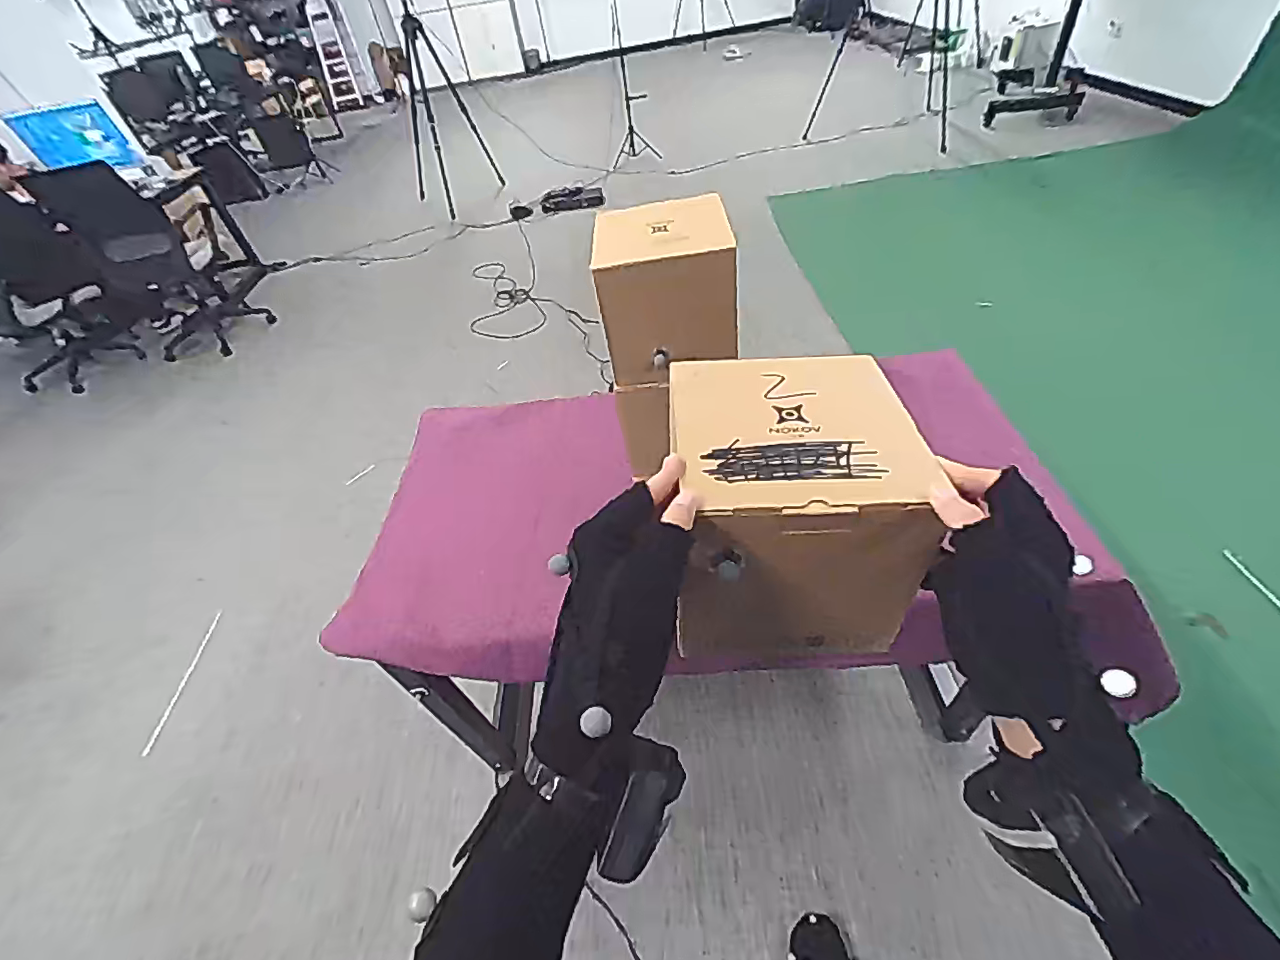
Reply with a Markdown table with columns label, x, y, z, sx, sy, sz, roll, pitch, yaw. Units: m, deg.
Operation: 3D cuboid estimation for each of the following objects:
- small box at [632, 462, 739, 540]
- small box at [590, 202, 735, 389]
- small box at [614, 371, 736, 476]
| label | x | y | z | sx | sy | sz | roll | pitch | yaw |
| --- | --- | --- | --- | --- | --- | --- | --- | --- | --- |
| small box | 0.081 | -0.009 | 0.945 | 0.168 | 0.176 | 0.179 | -6 | 45 | 5 |
| small box | 0.034 | -0.245 | 0.723 | 0.168 | 0.176 | 0.179 | -6 | 45 | 6 |
| small box | 0.056 | -0.128 | 0.835 | 0.168 | 0.176 | 0.179 | -6 | 46 | 6 |
